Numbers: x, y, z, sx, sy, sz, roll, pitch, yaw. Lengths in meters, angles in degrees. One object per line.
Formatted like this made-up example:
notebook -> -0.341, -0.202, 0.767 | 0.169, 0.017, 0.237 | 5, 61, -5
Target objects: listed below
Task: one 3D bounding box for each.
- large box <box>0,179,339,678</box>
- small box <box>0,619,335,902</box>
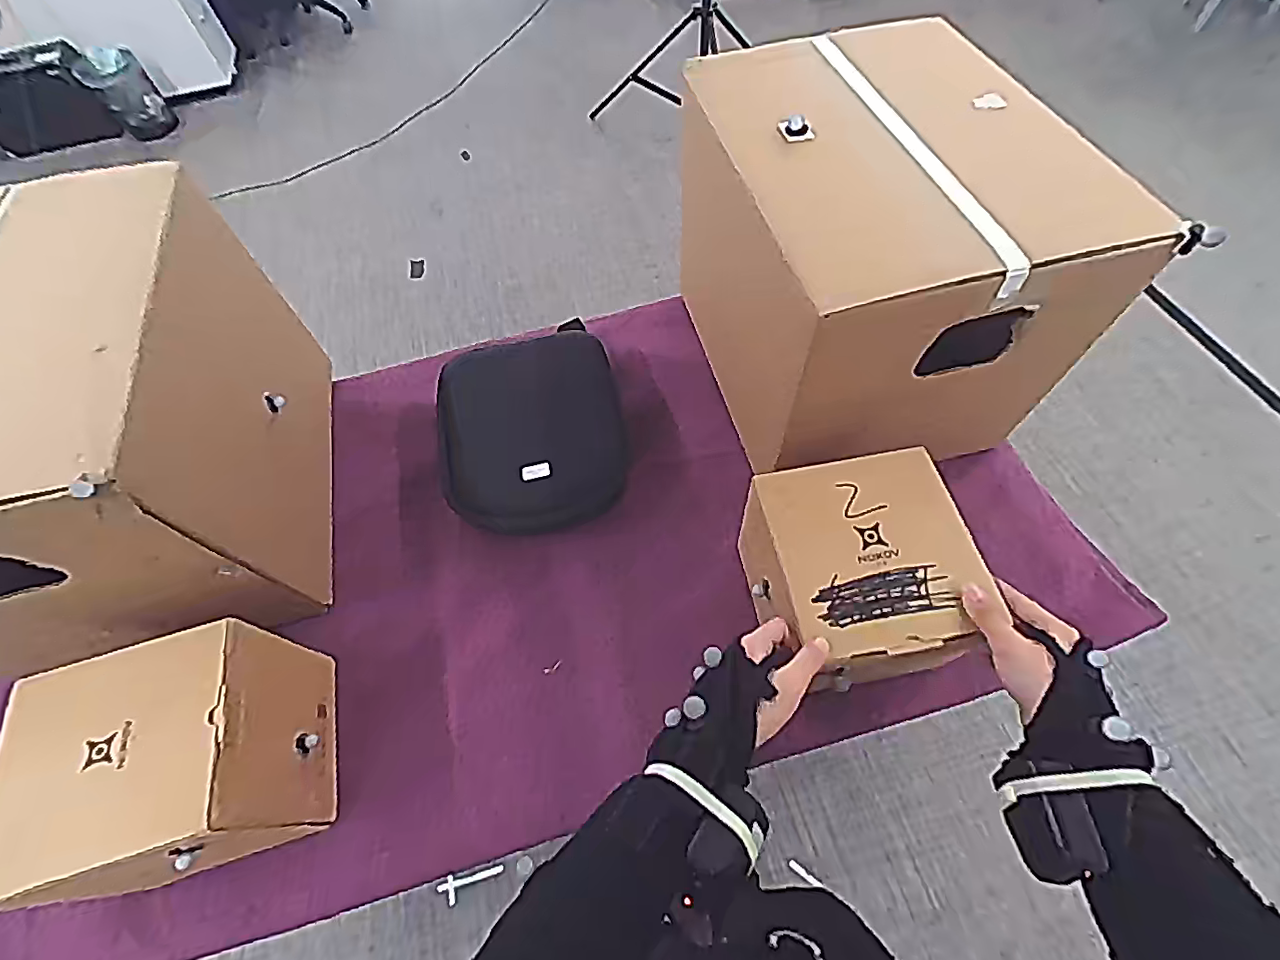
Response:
large box -> -0.564, -0.044, 0.590 | 0.320, 0.320, 0.408 | -16, 63, -7
small box -> -0.410, 0.252, 0.491 | 0.179, 0.176, 0.168 | -17, 59, -7
